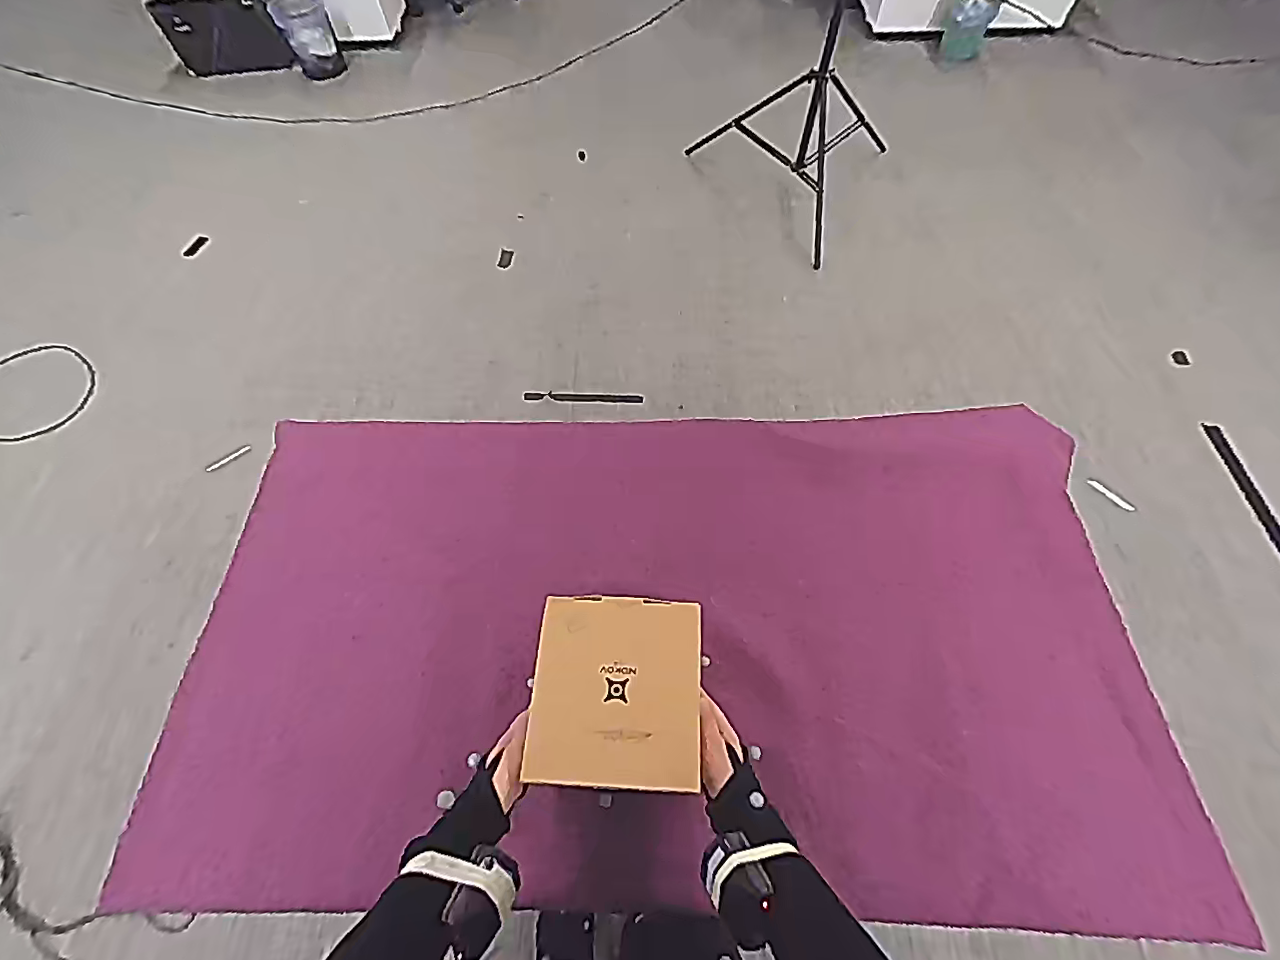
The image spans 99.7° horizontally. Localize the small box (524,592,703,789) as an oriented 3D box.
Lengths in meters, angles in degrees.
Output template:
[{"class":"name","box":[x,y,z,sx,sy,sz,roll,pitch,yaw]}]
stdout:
[{"class":"small box","box":[-0.019,0.237,0.599,0.168,0.176,0.179,1,61,3]}]
